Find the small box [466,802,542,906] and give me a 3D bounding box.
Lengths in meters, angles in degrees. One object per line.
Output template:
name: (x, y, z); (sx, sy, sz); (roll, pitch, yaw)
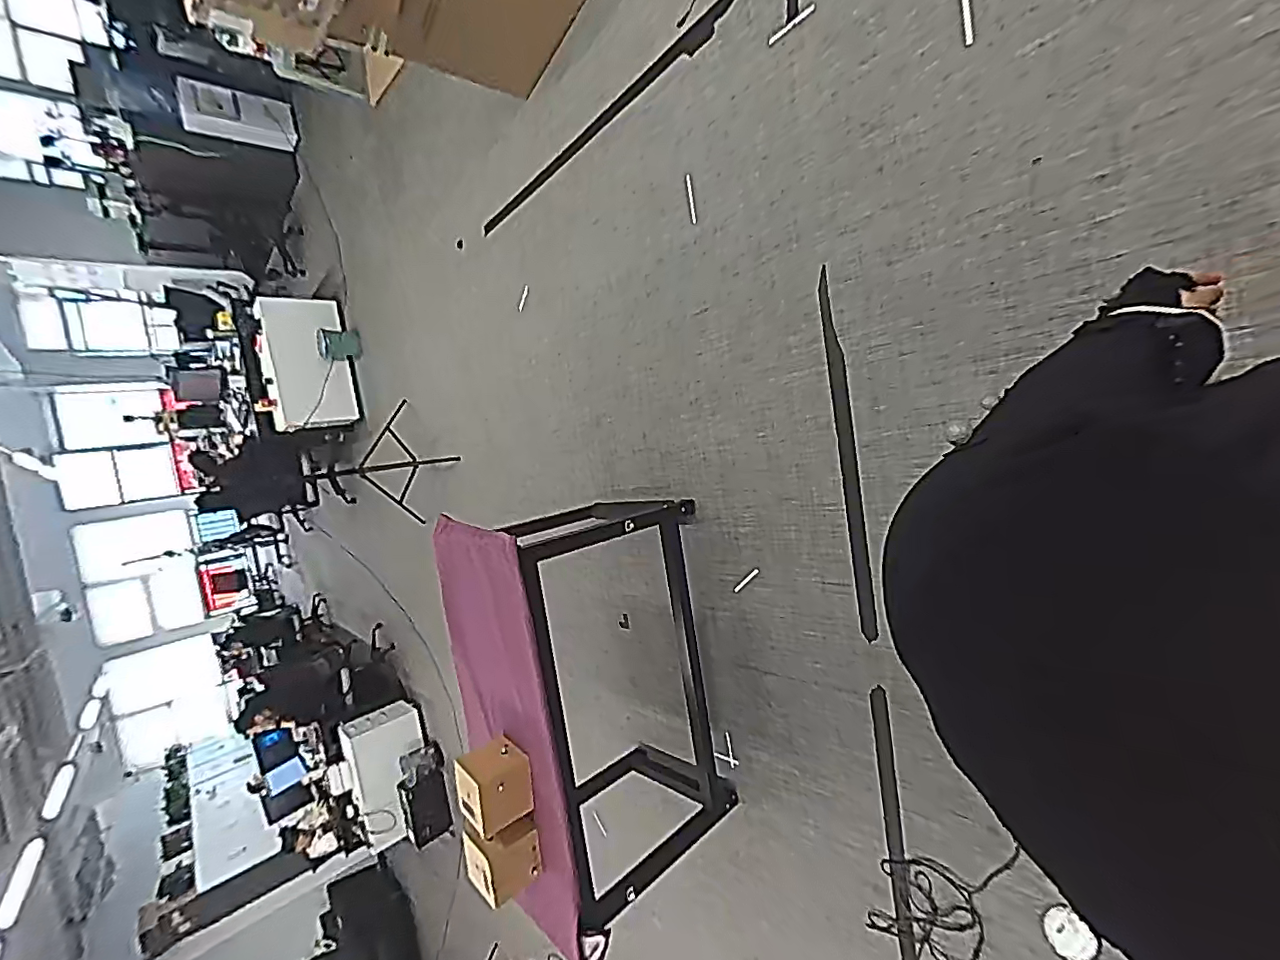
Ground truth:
small box: (-0.417, 1.149, 1.681); (0.179, 0.176, 0.168); (4, 101, 48)
